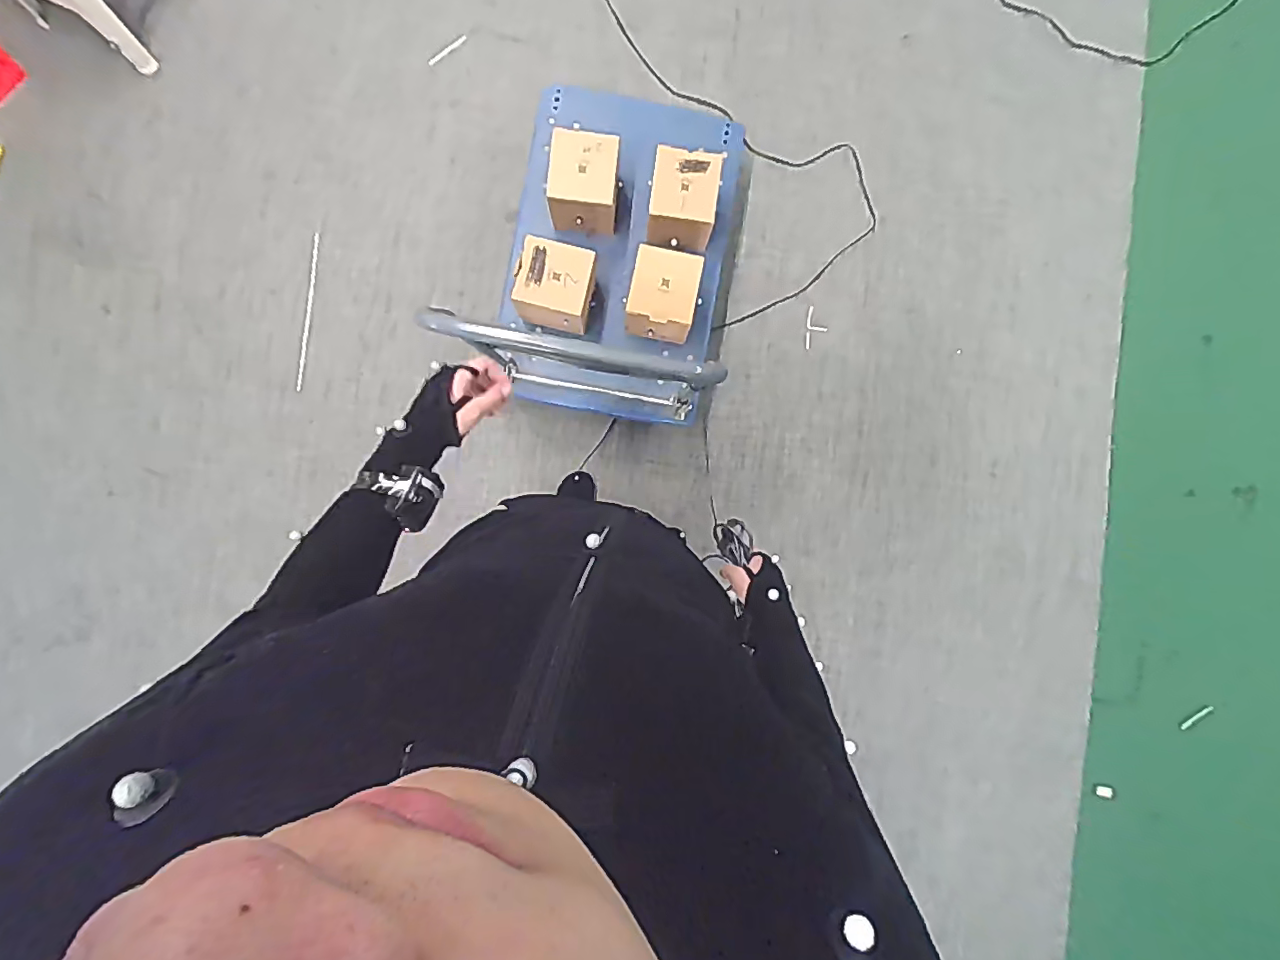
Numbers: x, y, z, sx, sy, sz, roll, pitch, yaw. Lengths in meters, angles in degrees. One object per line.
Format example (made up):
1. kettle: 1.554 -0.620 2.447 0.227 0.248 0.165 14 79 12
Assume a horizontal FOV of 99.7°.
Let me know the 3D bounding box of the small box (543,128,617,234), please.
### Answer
1. small box: -0.148 -0.761 1.393 0.168 0.176 0.179 6 89 -3

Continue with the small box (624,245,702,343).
1. small box: 0.054 -0.474 1.399 0.168 0.176 0.179 11 90 -2

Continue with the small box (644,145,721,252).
1. small box: 0.104 -0.723 1.402 0.168 0.176 0.179 8 90 -2
